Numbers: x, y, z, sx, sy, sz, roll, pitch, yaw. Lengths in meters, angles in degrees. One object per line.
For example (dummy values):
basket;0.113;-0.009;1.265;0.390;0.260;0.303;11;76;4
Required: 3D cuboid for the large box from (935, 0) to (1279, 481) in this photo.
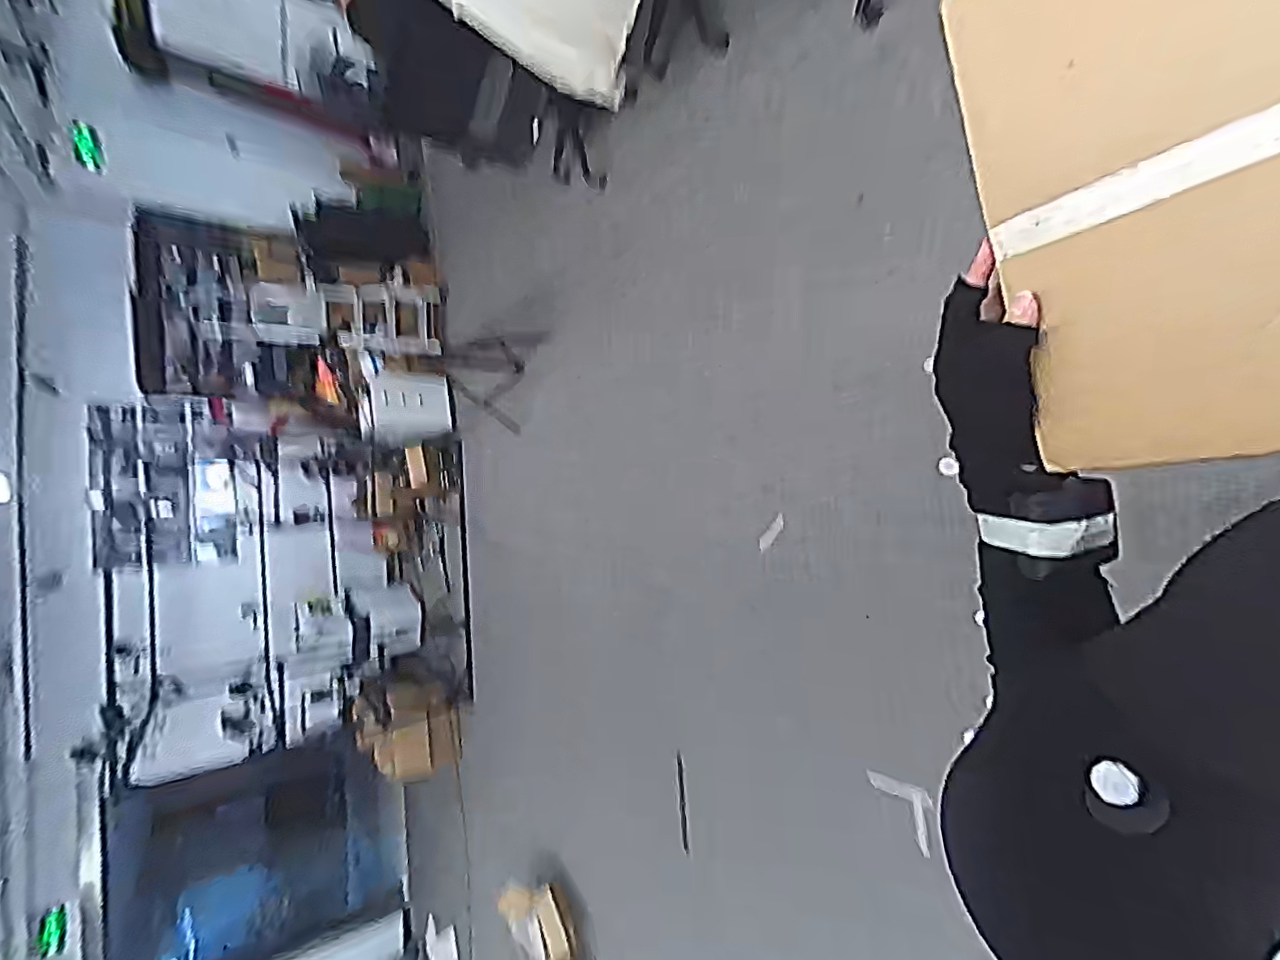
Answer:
large box;0.465;-0.208;0.291;0.408;0.320;0.320;-12;94;55
